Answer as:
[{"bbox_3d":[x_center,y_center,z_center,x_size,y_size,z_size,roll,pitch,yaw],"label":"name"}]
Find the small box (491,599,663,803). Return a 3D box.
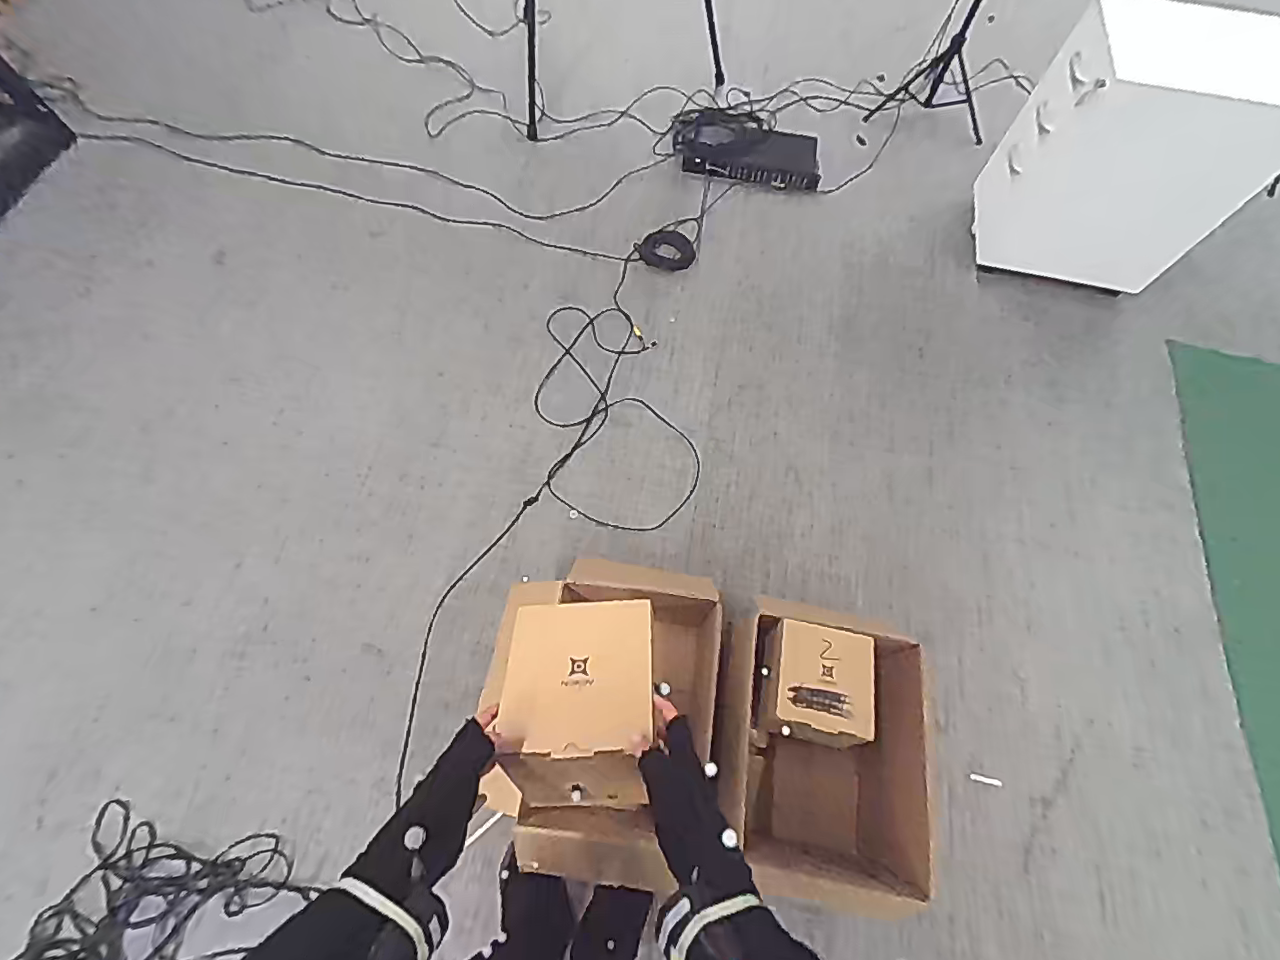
[{"bbox_3d":[-0.061,0.265,0.650,0.168,0.176,0.179,-4,45,4],"label":"small box"}]
